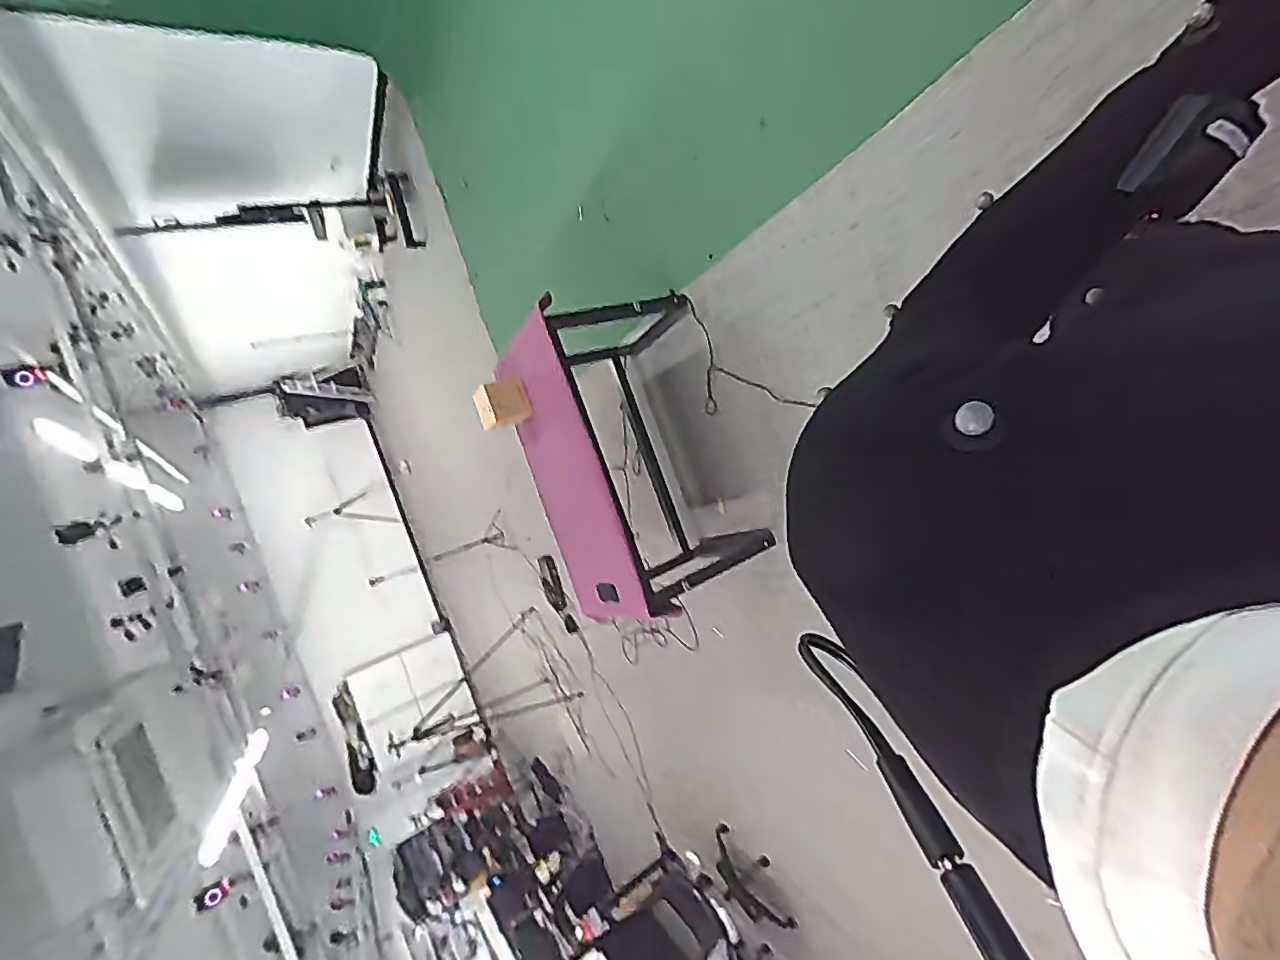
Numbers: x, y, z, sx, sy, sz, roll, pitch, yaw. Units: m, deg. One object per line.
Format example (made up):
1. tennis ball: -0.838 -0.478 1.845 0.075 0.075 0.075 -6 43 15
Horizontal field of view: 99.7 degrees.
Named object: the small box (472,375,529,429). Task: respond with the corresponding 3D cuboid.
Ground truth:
1. small box: -0.591 -0.331 2.301 0.179 0.176 0.168 -17 93 59
